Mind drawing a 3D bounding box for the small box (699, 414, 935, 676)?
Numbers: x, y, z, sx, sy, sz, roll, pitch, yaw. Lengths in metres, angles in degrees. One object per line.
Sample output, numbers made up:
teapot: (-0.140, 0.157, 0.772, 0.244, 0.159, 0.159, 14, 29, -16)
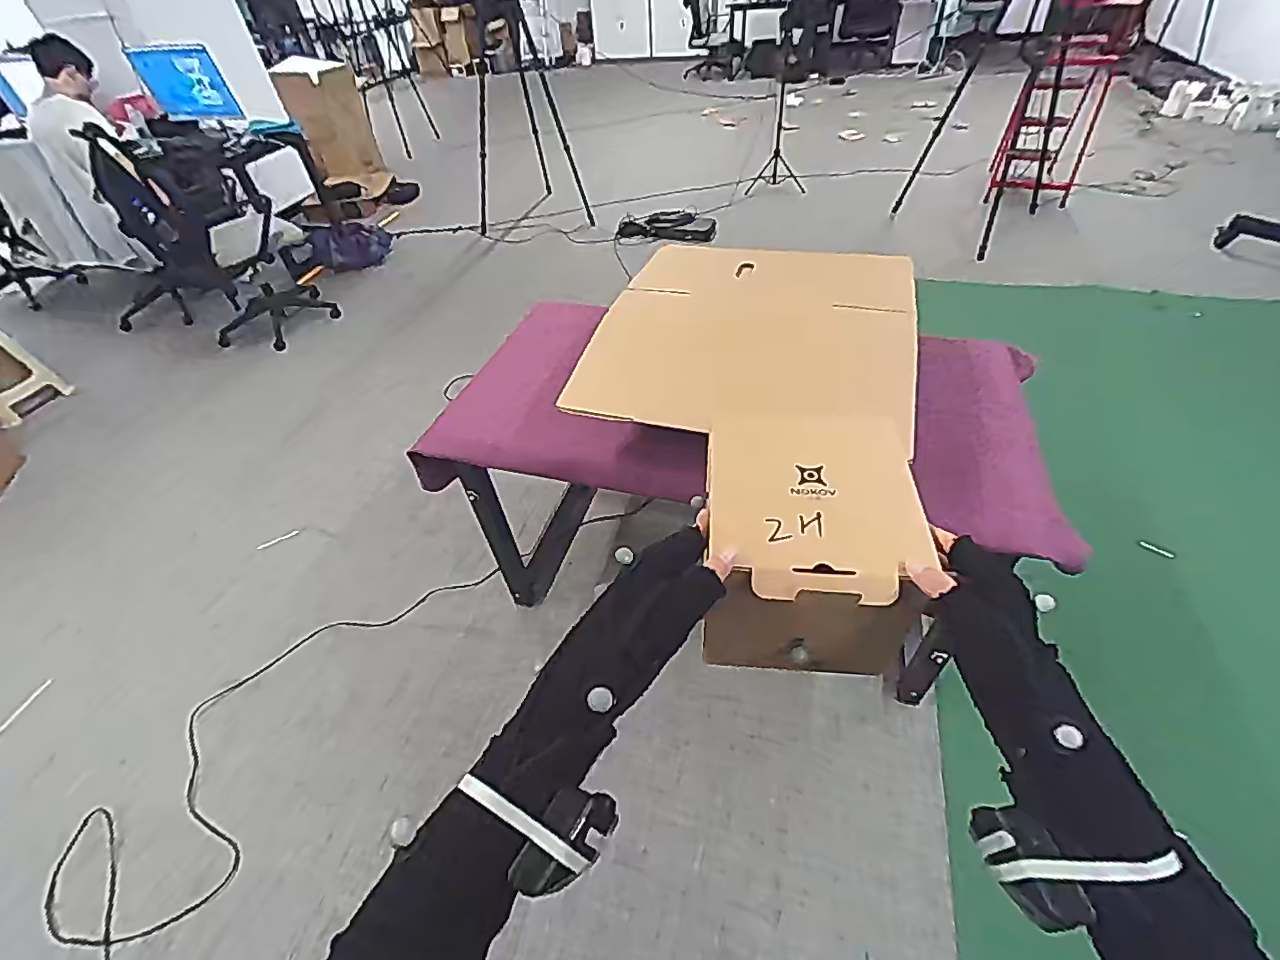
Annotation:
small box: (0.143, 0.059, 0.506, 0.168, 0.176, 0.179, 2, 49, 7)
